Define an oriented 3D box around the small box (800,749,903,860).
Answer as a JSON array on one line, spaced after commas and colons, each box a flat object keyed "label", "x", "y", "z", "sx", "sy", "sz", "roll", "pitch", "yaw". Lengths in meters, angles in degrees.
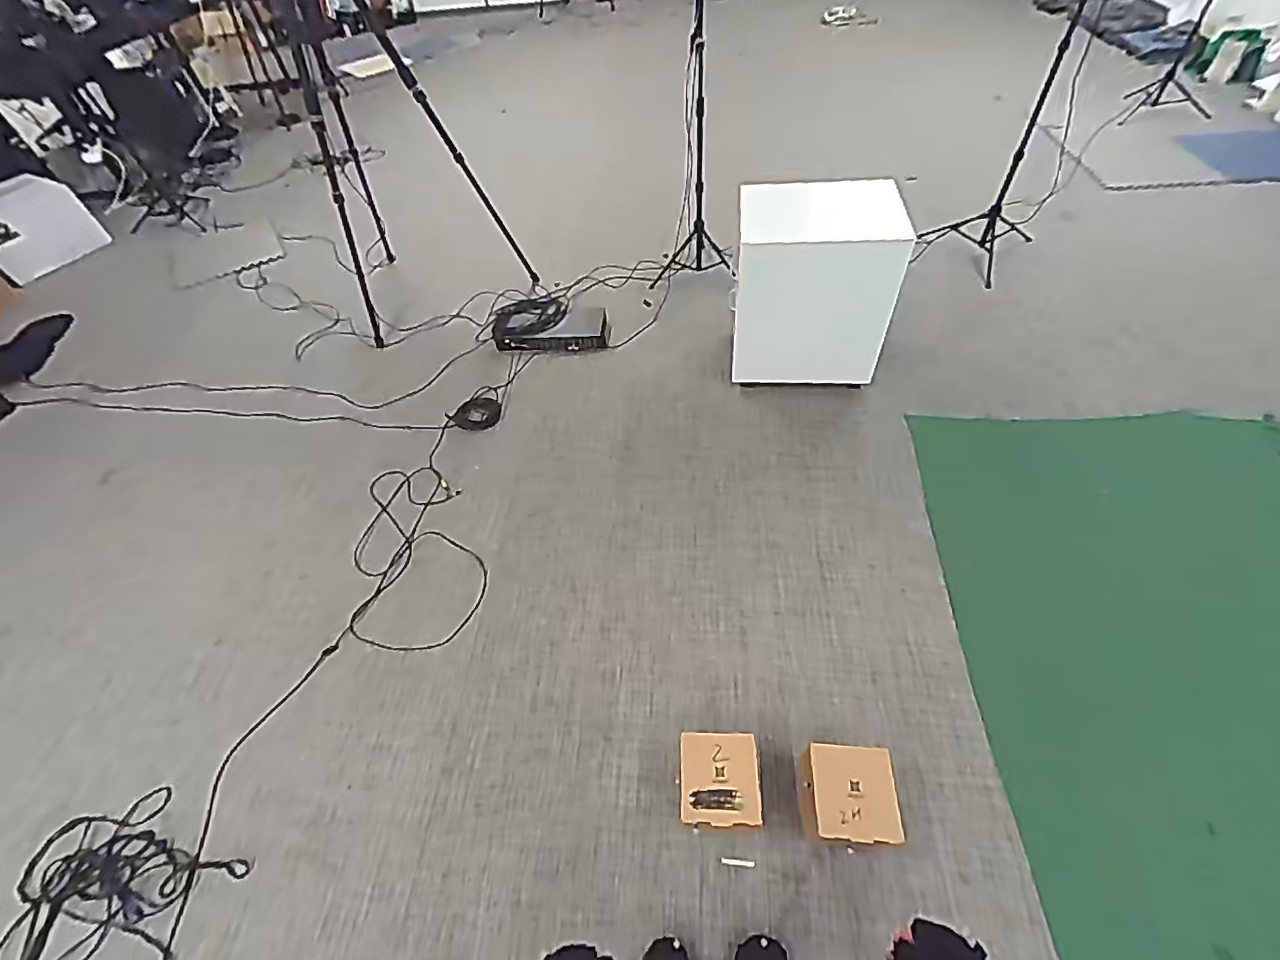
[{"label": "small box", "x": 0.449, "y": 0.710, "z": 1.181, "sx": 0.168, "sy": 0.176, "sz": 0.179, "roll": 1, "pitch": 52, "yaw": 7}]
